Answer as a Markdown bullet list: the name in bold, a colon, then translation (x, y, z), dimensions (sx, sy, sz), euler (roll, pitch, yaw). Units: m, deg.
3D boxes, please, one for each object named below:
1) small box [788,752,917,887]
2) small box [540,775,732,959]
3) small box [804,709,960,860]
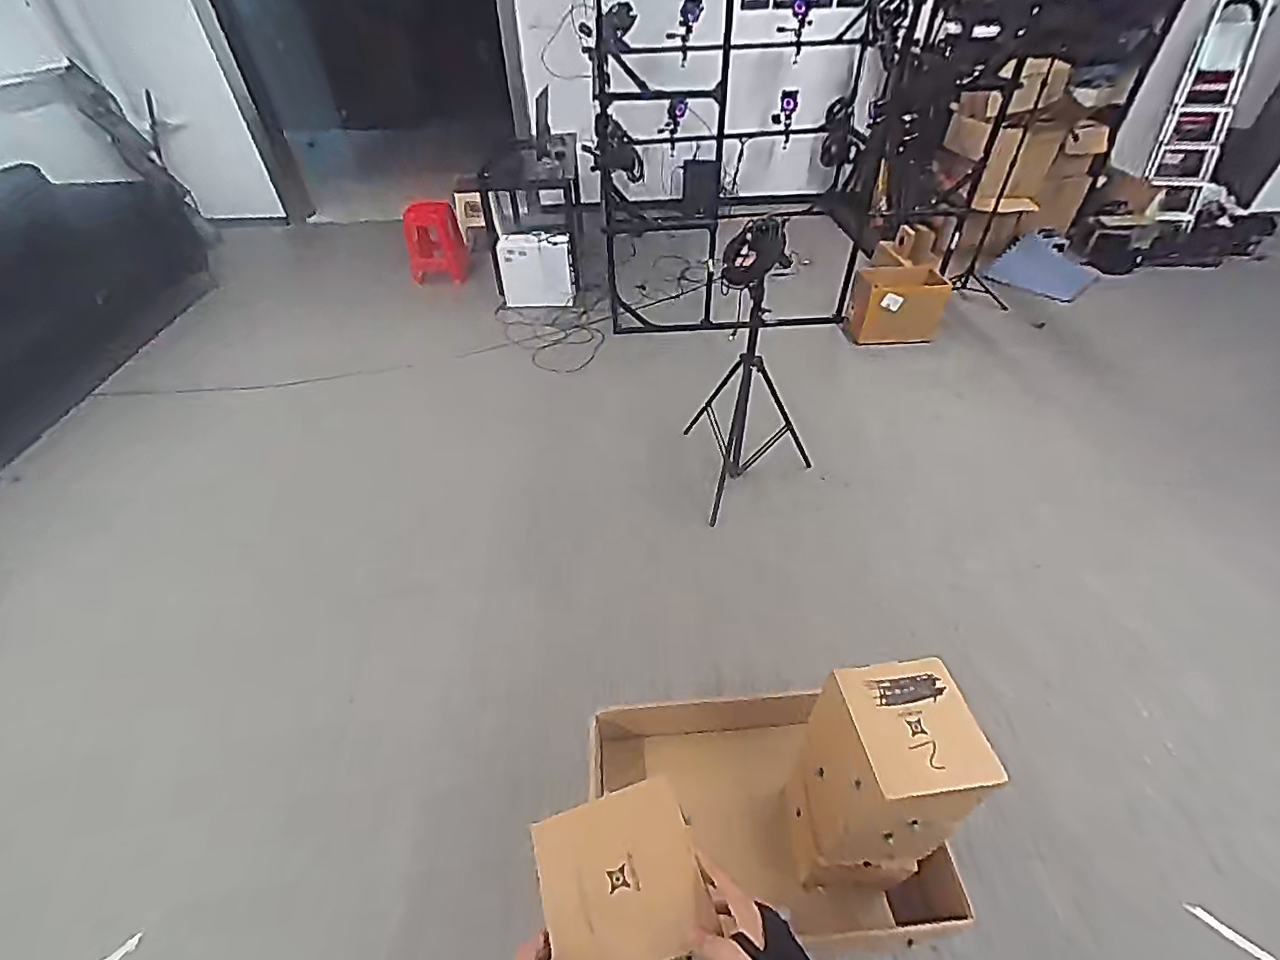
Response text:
- **small box**: translation (0.380, 0.630, 1.002), dimensions (0.168, 0.176, 0.179), euler (2, 42, 2)
- **small box**: translation (-0.006, 0.486, 0.648), dimensions (0.179, 0.176, 0.168), euler (-17, 48, -9)
- **small box**: translation (0.384, 0.503, 0.898), dimensions (0.168, 0.176, 0.179), euler (-1, 42, 0)
